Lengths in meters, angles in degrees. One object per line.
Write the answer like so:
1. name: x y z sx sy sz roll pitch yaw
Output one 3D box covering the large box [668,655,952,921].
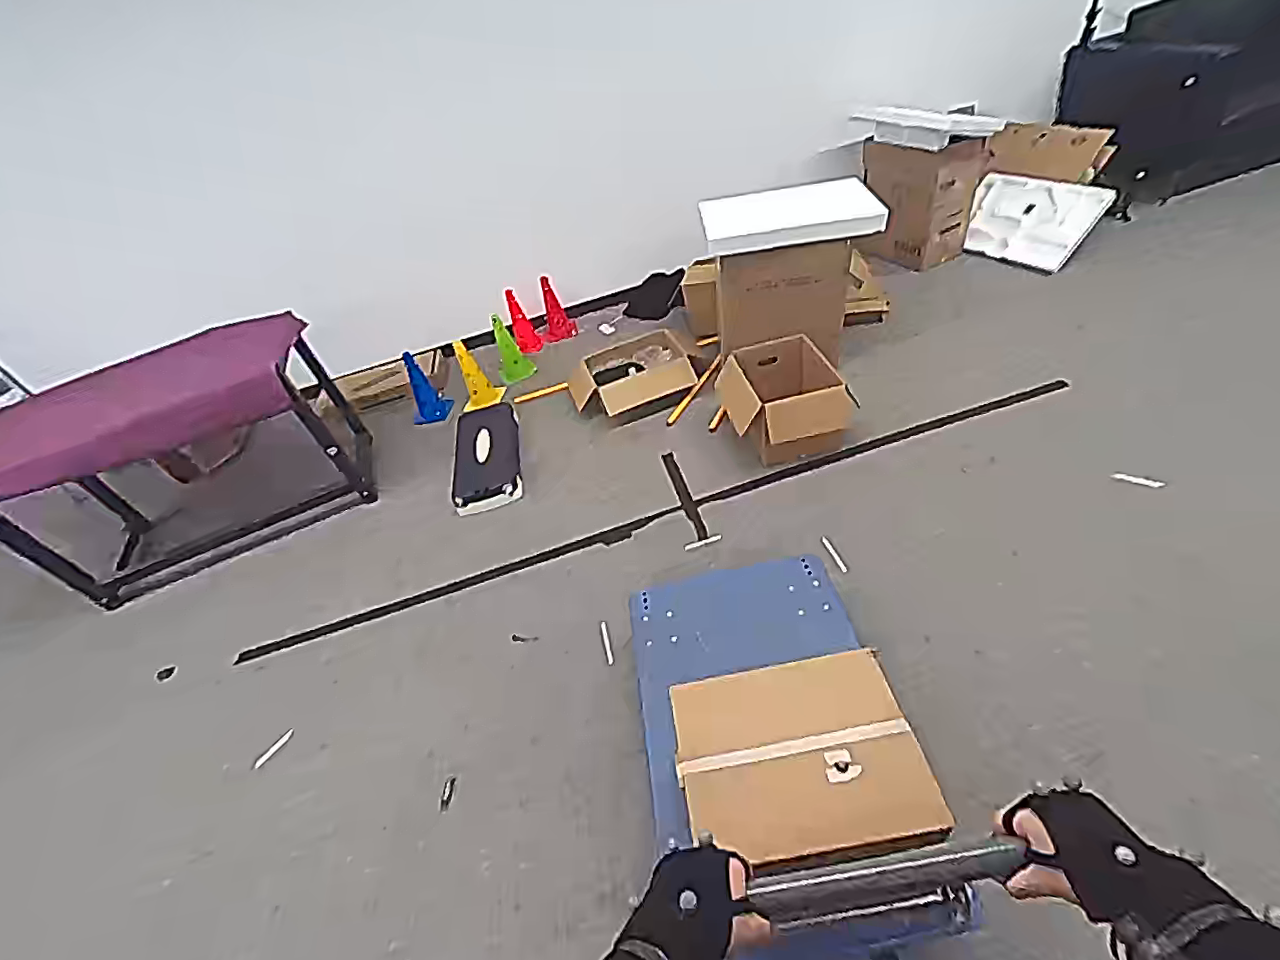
1. large box: 0.291 0.589 1.036 0.408 0.320 0.320 -12 42 1
